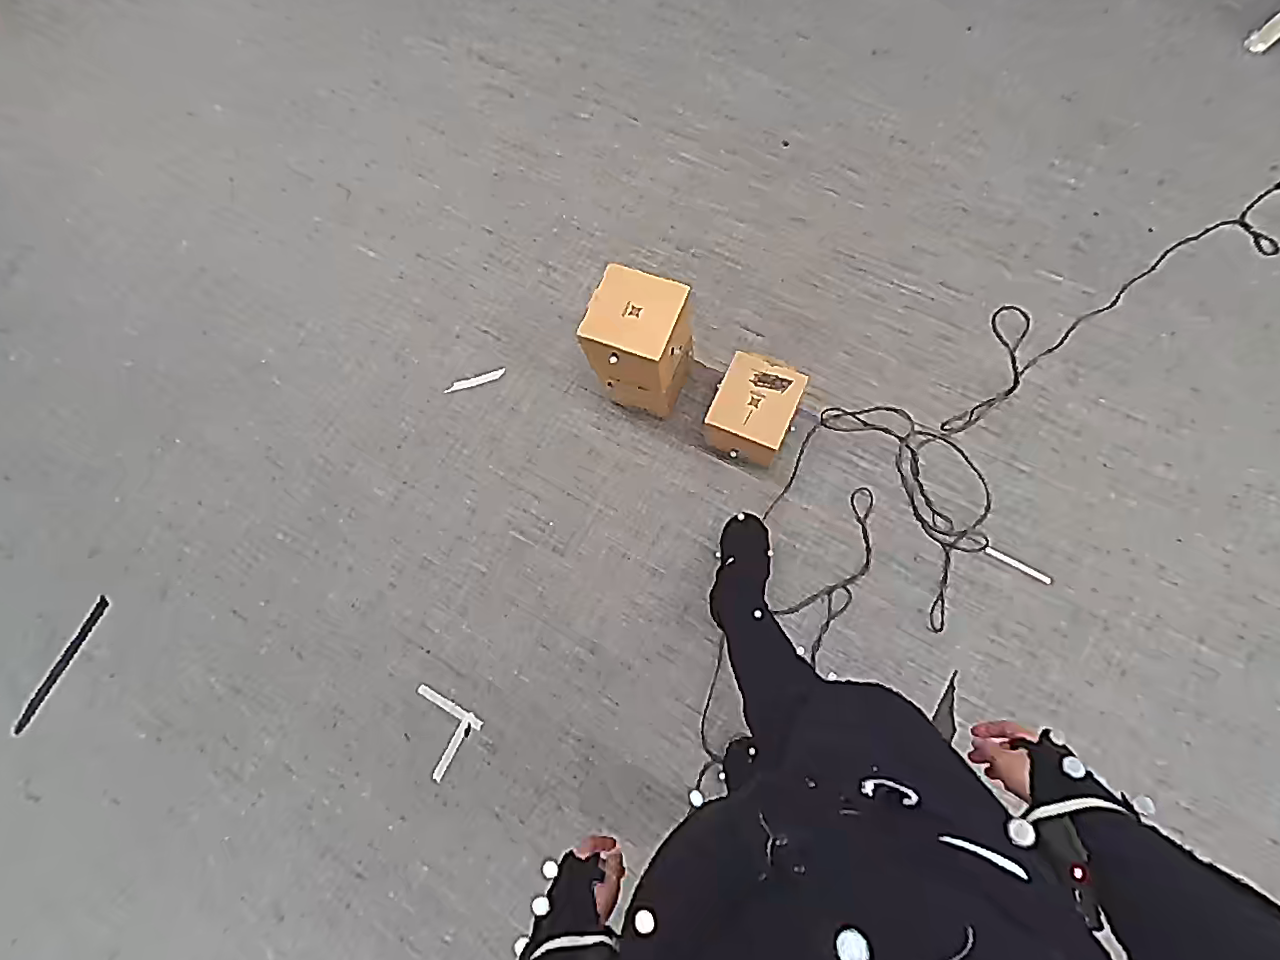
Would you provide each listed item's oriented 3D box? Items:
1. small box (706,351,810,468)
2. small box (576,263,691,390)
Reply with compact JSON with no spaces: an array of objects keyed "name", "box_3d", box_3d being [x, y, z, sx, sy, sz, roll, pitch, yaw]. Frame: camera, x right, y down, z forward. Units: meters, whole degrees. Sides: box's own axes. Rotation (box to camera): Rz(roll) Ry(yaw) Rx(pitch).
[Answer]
[{"name":"small box","box_3d":[0.254,-0.149,1.198,0.168,0.176,0.179,24,82,13]},{"name":"small box","box_3d":[-0.003,-0.302,1.098,0.179,0.176,0.168,20,80,12]}]
